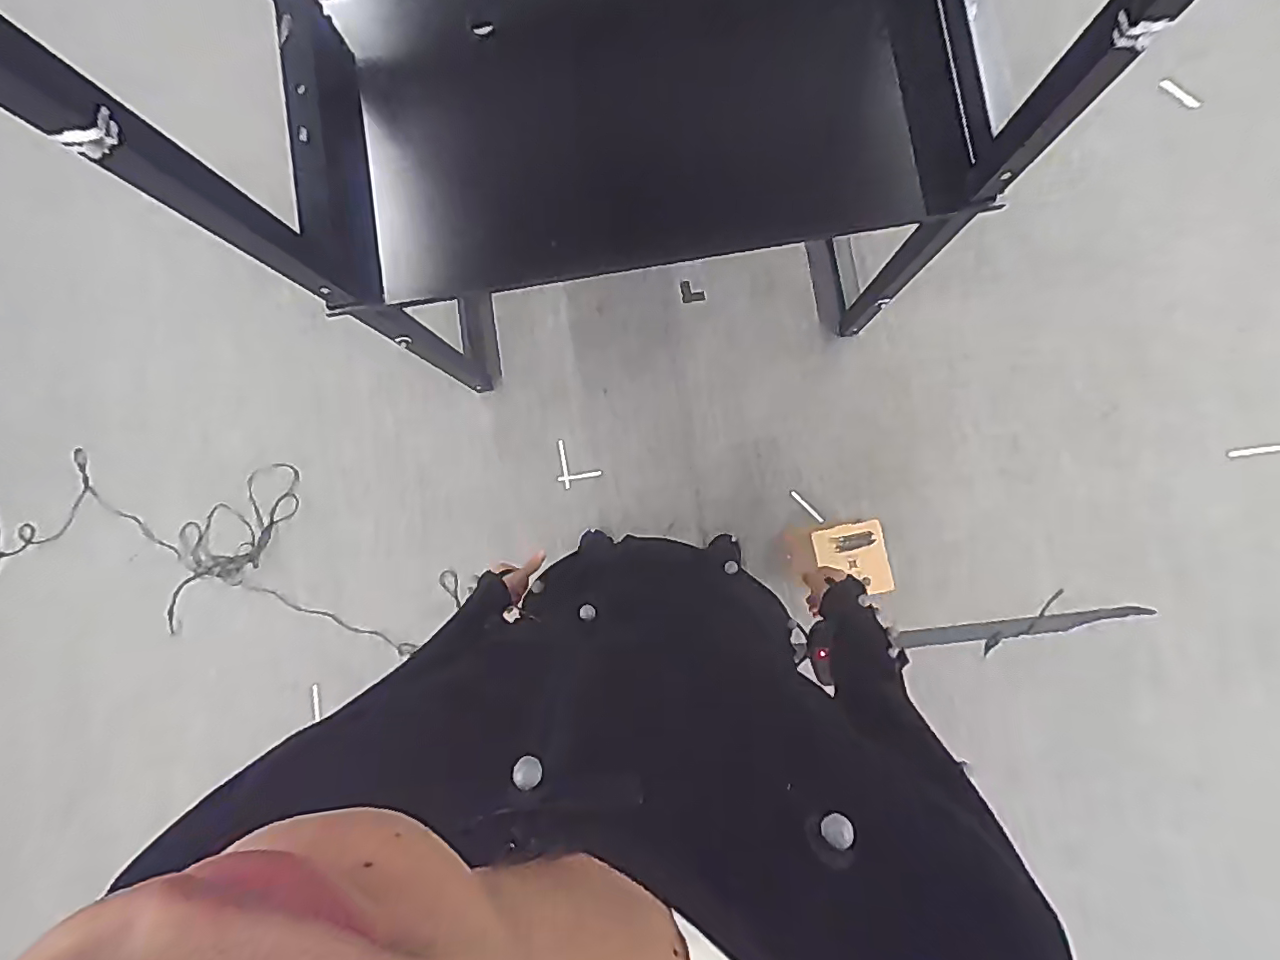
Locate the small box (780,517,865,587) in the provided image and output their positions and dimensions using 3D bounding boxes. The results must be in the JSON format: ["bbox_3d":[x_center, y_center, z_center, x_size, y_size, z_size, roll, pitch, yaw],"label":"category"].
[{"bbox_3d":[0.510,0.199,1.533,0.179,0.176,0.168,-9,86,3],"label":"small box"}]
